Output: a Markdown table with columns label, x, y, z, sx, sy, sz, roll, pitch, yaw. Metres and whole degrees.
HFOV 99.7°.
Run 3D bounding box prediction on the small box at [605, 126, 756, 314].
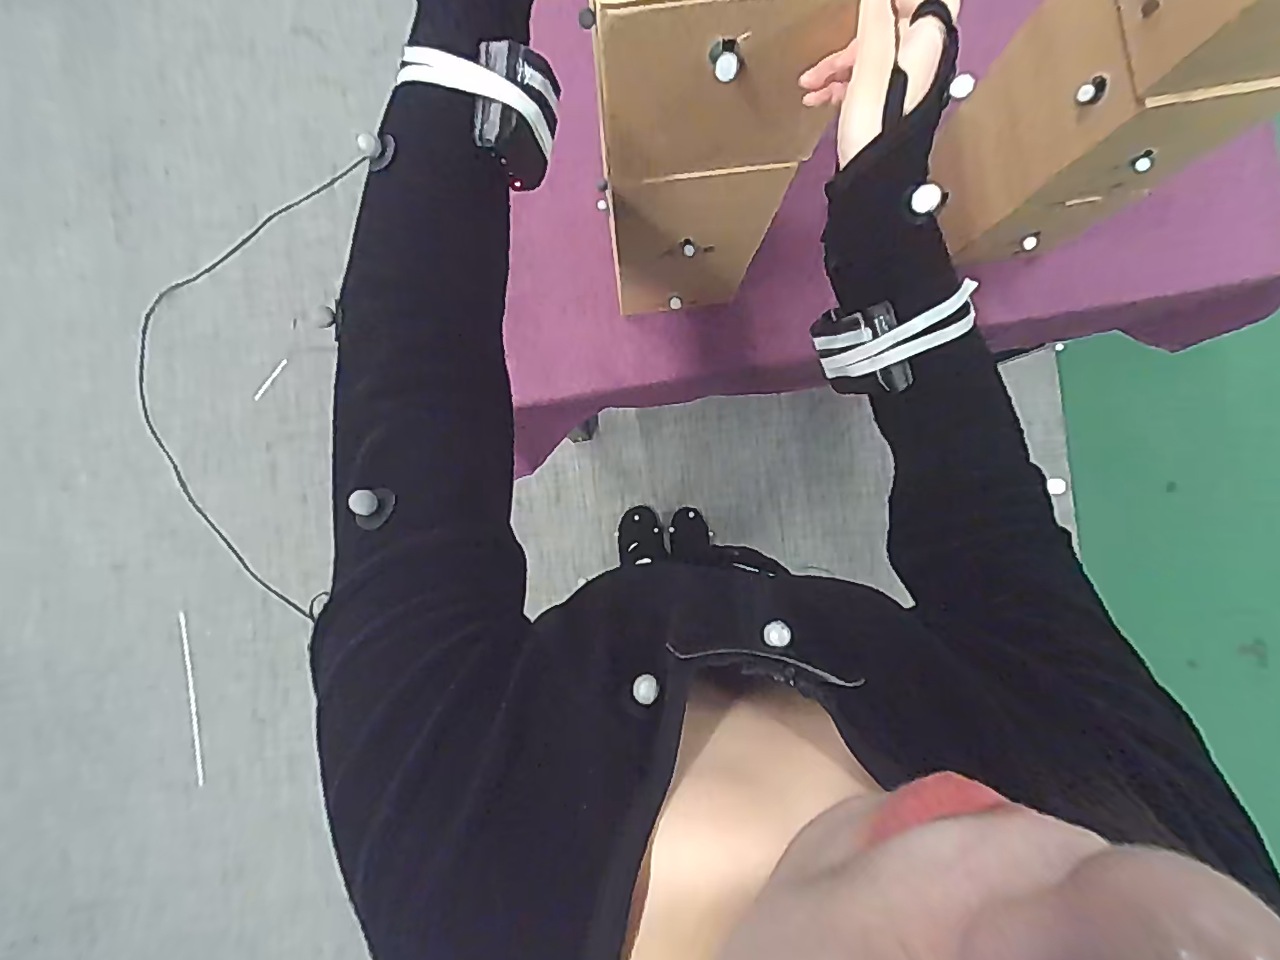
| label | x | y | z | sx | sy | sz | roll | pitch | yaw |
| --- | --- | --- | --- | --- | --- | --- | --- | --- | --- |
| small box | 0.046 | -0.339 | 0.716 | 0.168 | 0.176 | 0.179 | -7 | 89 | 0 |

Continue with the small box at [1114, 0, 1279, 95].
| label | x | y | z | sx | sy | sz | roll | pitch | yaw |
| --- | --- | --- | --- | --- | --- | --- | --- | --- | --- |
| small box | 0.498 | -0.424 | 0.389 | 0.179 | 0.176 | 0.168 | -9 | 87 | 1 |

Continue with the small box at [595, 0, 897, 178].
| label | x | y | z | sx | sy | sz | roll | pitch | yaw |
| --- | --- | --- | --- | --- | --- | --- | --- | --- | --- |
| small box | 0.057 | -0.348 | 0.389 | 0.179 | 0.176 | 0.168 | -6 | 89 | 1 |

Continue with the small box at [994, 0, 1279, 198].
| label | x | y | z | sx | sy | sz | roll | pitch | yaw |
| --- | --- | --- | --- | --- | --- | --- | --- | --- | --- |
| small box | 0.503 | -0.415 | 0.553 | 0.168 | 0.176 | 0.179 | -9 | 88 | 0 |

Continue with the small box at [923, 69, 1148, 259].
| label | x | y | z | sx | sy | sz | roll | pitch | yaw |
| --- | --- | --- | --- | --- | --- | --- | --- | --- | --- |
| small box | 0.507 | -0.411 | 0.718 | 0.168 | 0.176 | 0.179 | -8 | 89 | -1 |
